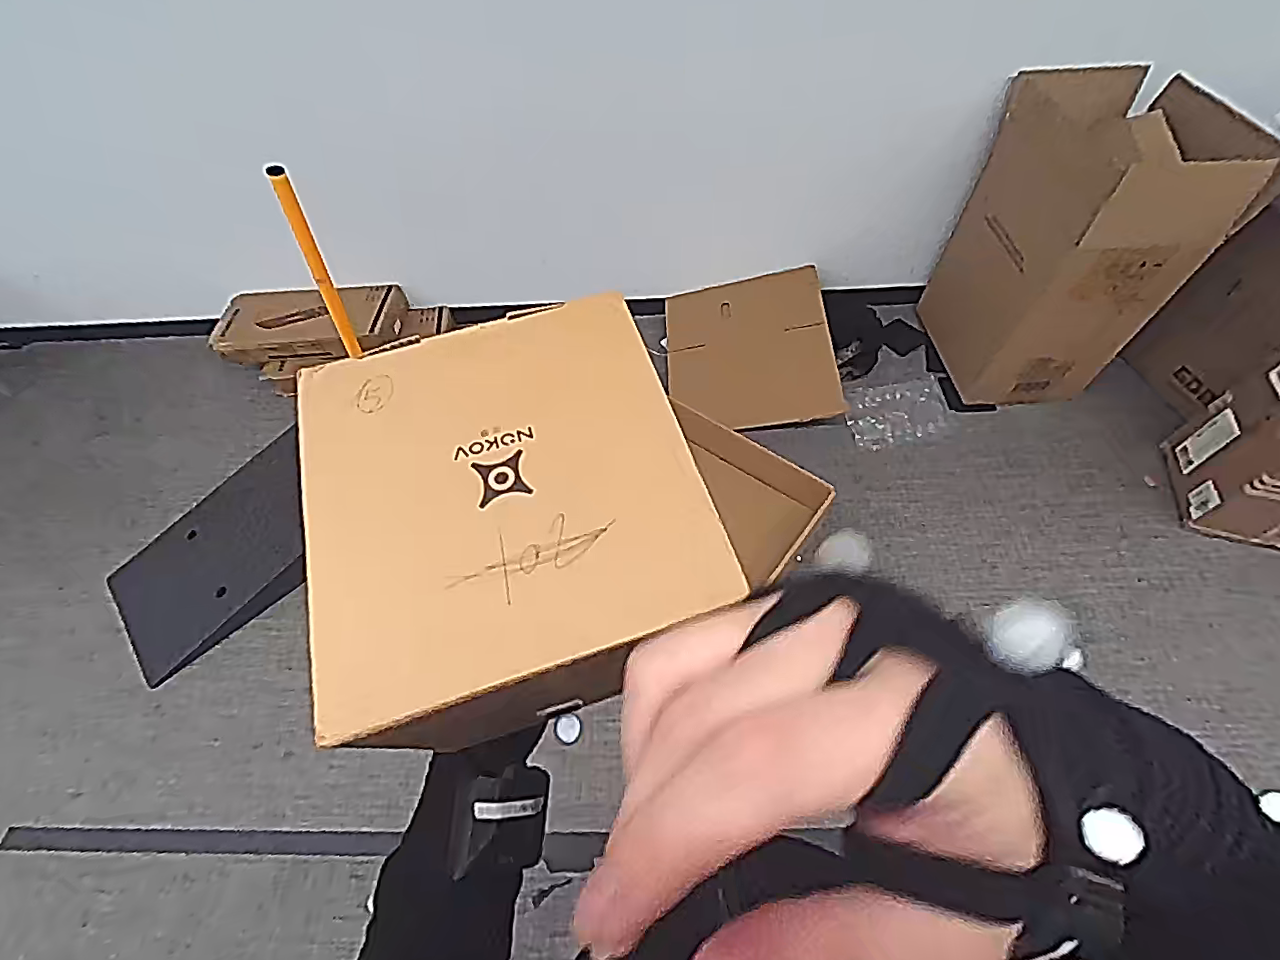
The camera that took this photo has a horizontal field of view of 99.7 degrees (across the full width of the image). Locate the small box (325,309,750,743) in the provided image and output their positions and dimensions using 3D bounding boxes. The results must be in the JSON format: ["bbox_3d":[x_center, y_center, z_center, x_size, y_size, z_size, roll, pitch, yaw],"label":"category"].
[{"bbox_3d":[-0.056,0.037,0.317,0.168,0.176,0.179,-16,64,-7],"label":"small box"}]
